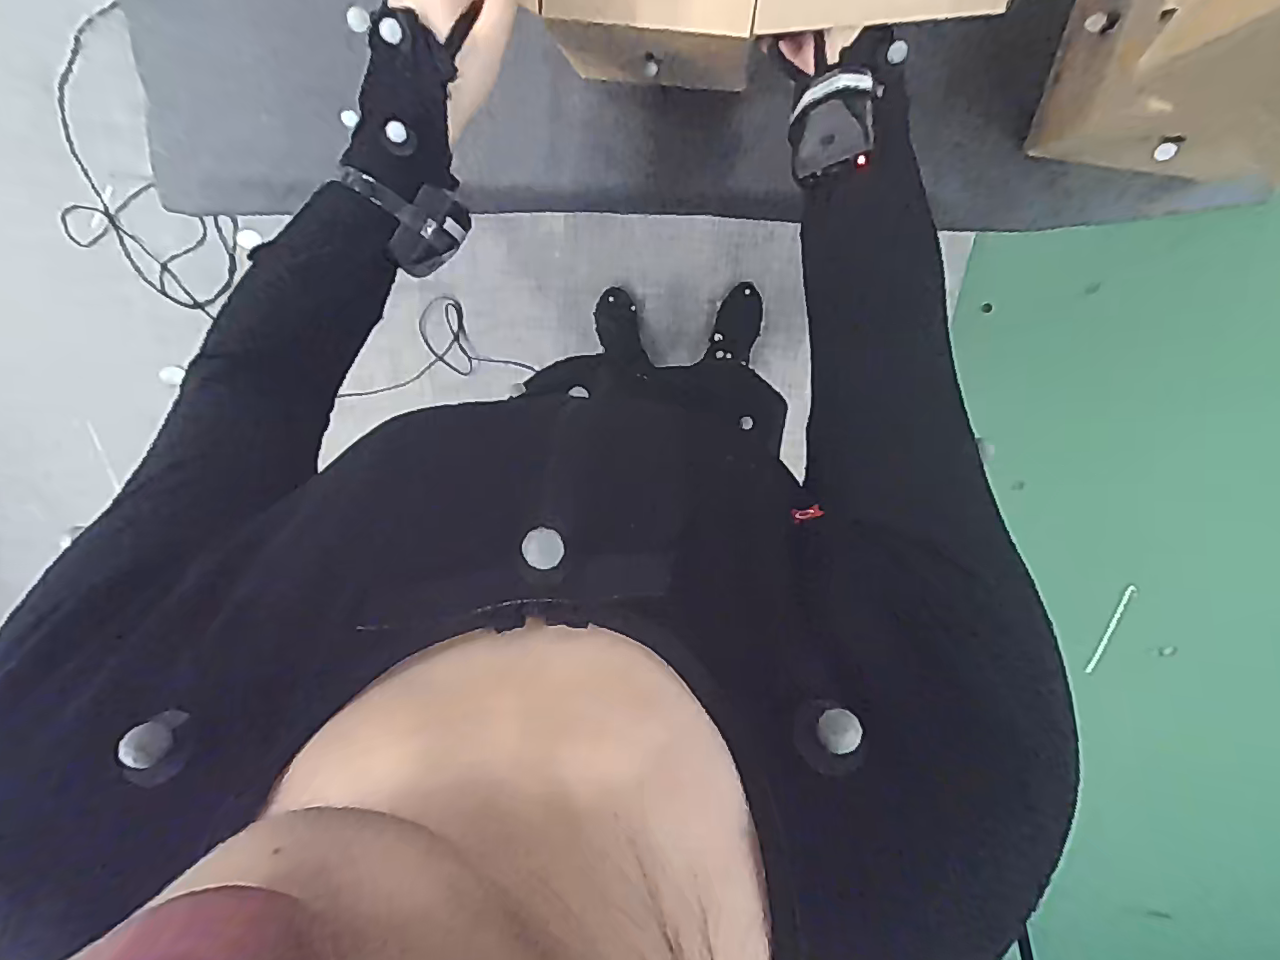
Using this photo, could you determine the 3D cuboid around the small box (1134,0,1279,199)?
[{"bbox_3d":[0.449,-0.277,0.295,0.179,0.176,0.168,30,111,-5],"label":"small box"}]
